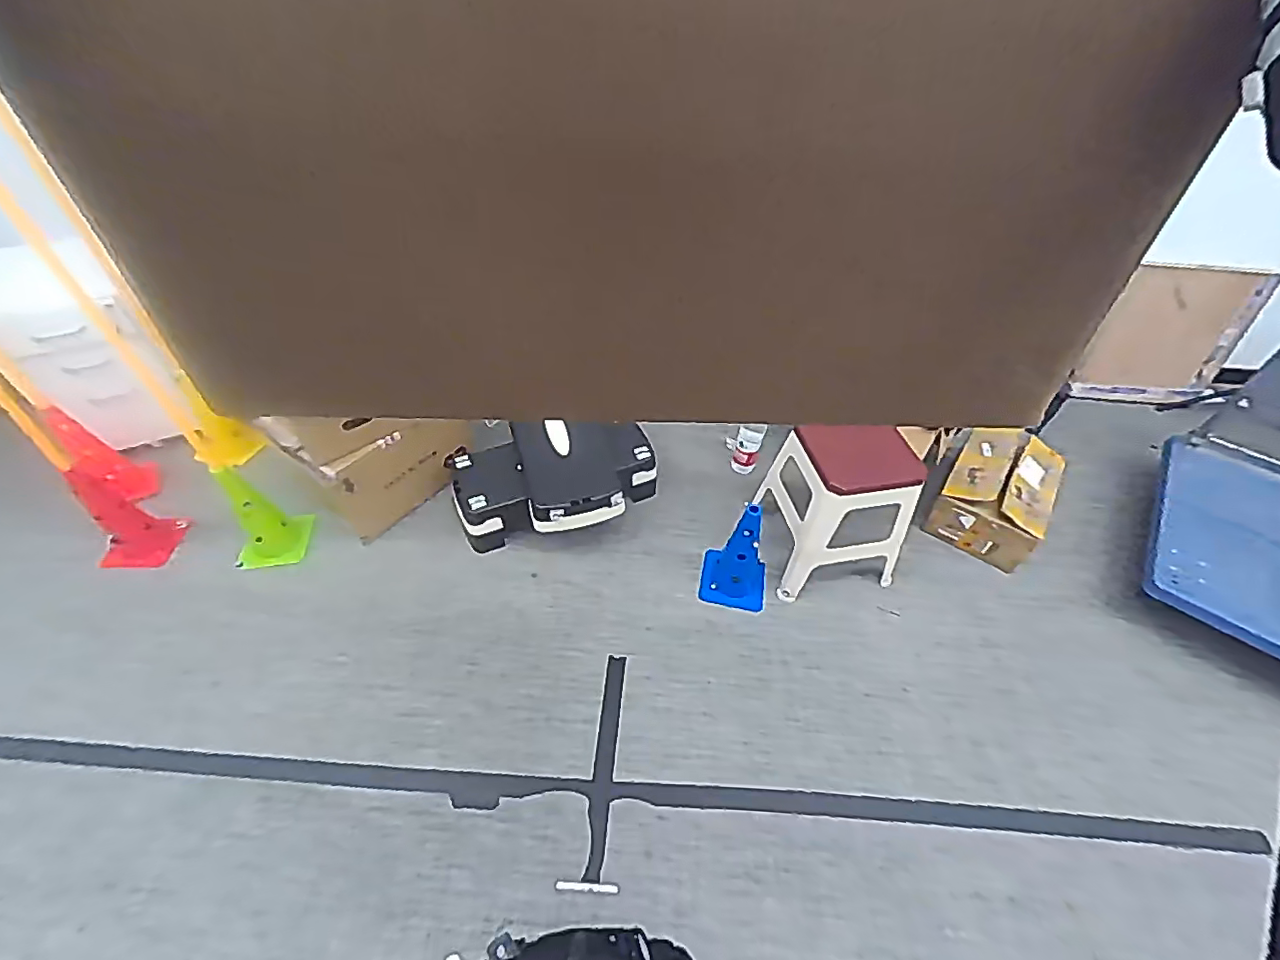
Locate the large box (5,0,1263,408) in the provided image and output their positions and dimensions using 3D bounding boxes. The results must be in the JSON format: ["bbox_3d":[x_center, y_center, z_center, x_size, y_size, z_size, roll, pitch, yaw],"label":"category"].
[{"bbox_3d":[-0.002,-0.248,0.277,0.408,0.320,0.320,2,43,-1],"label":"large box"}]
